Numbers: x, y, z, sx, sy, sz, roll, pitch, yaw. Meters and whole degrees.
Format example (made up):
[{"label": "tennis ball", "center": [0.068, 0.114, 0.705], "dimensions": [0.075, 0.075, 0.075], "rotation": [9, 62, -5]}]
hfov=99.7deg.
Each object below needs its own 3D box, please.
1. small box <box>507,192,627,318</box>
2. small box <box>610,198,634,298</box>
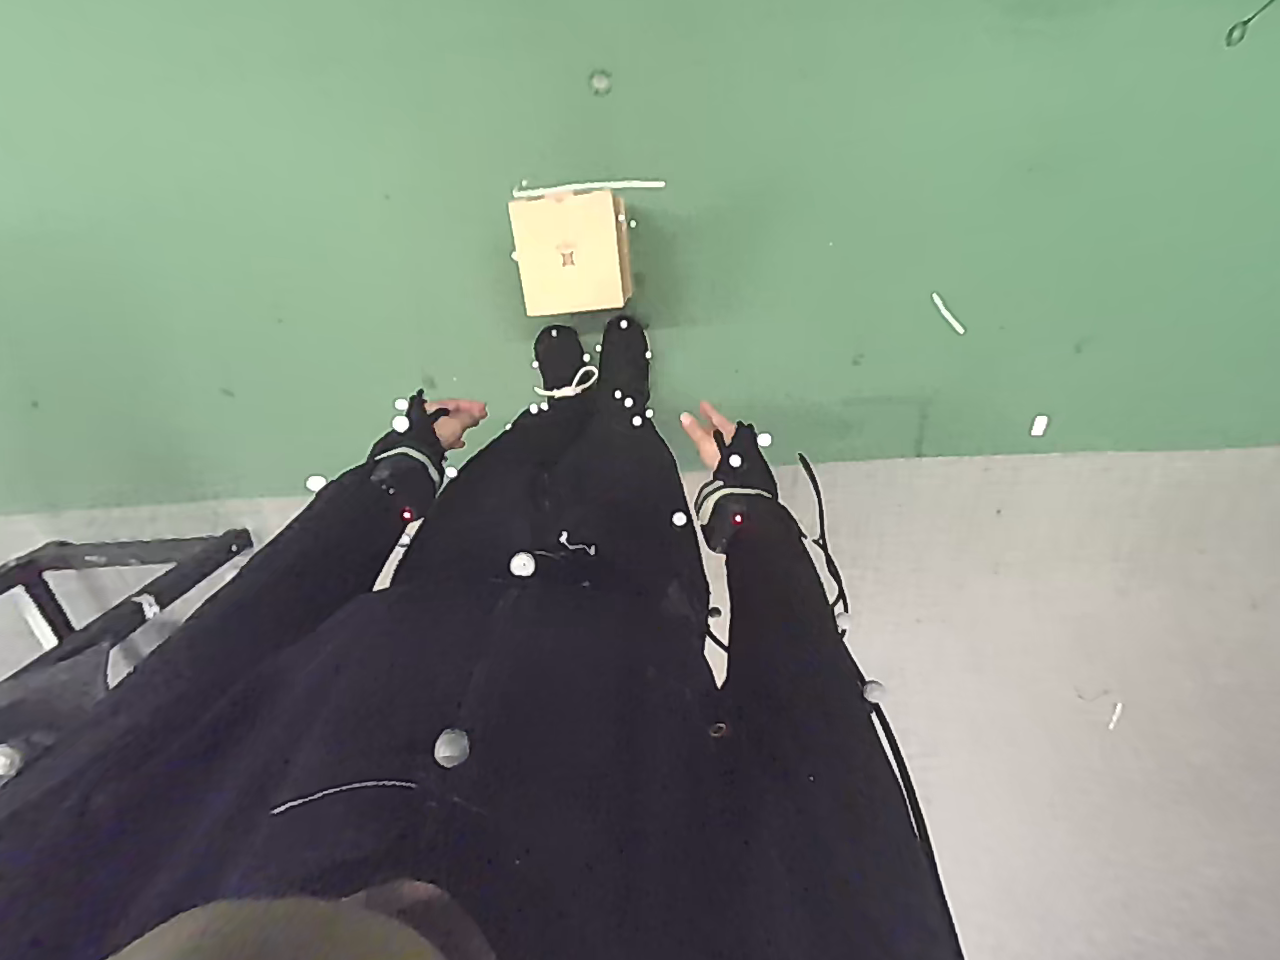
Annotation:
[{"label": "small box", "center": [-0.115, -0.389, 0.940], "dimensions": [0.168, 0.176, 0.179], "rotation": [-5, 112, 4]}, {"label": "small box", "center": [-0.103, -0.457, 1.087], "dimensions": [0.168, 0.176, 0.179], "rotation": [-4, 114, 4]}]
